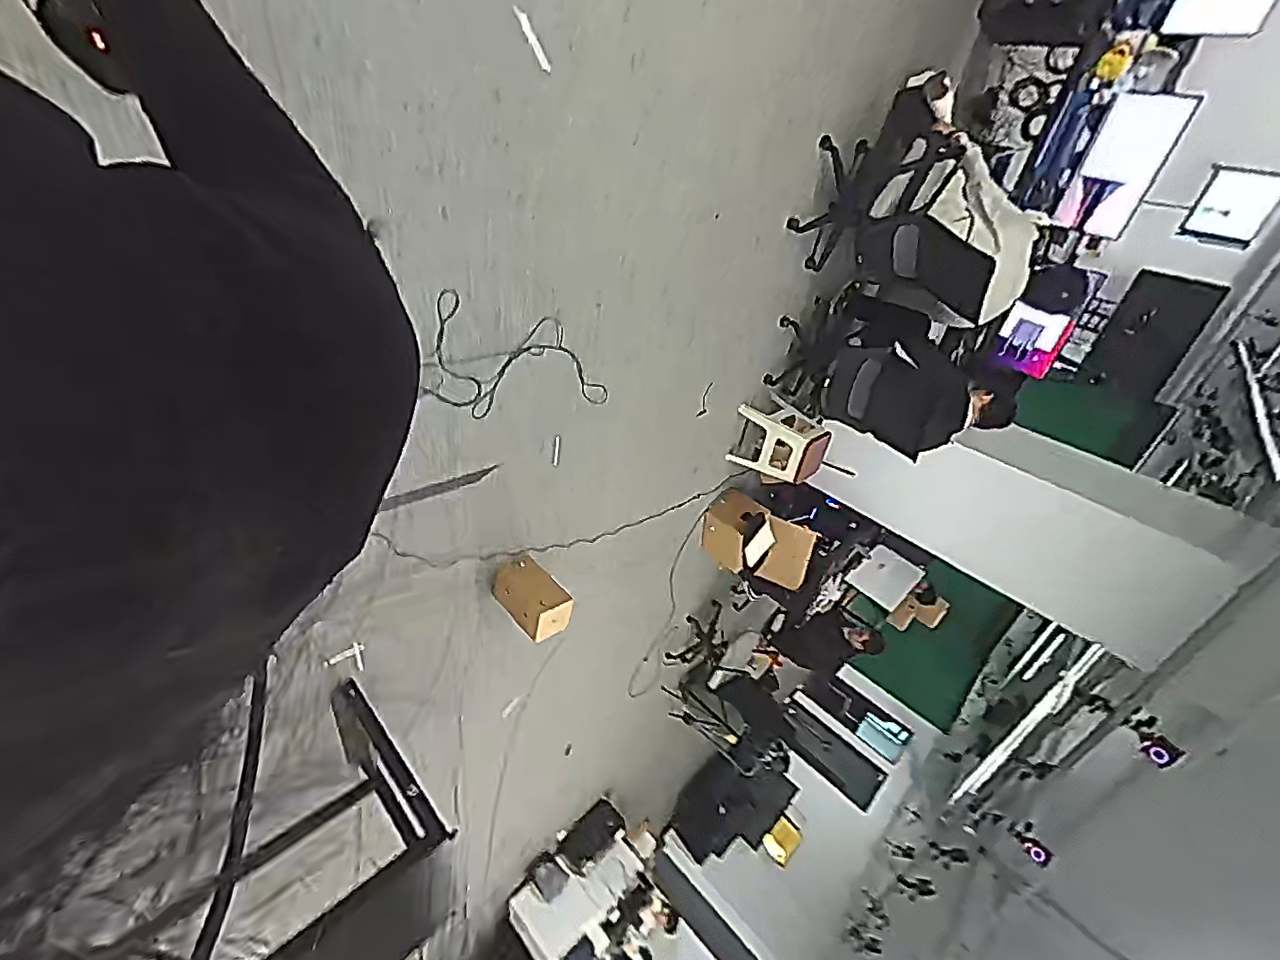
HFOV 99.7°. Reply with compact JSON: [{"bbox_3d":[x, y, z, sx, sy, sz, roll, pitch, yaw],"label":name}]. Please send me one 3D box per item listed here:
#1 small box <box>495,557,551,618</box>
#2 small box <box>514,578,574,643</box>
[{"bbox_3d":[-0.520,0.470,2.380,0.168,0.176,0.179,-15,129,-47],"label":"small box"},{"bbox_3d":[-0.409,0.546,2.283,0.179,0.176,0.168,-18,133,-45],"label":"small box"}]
